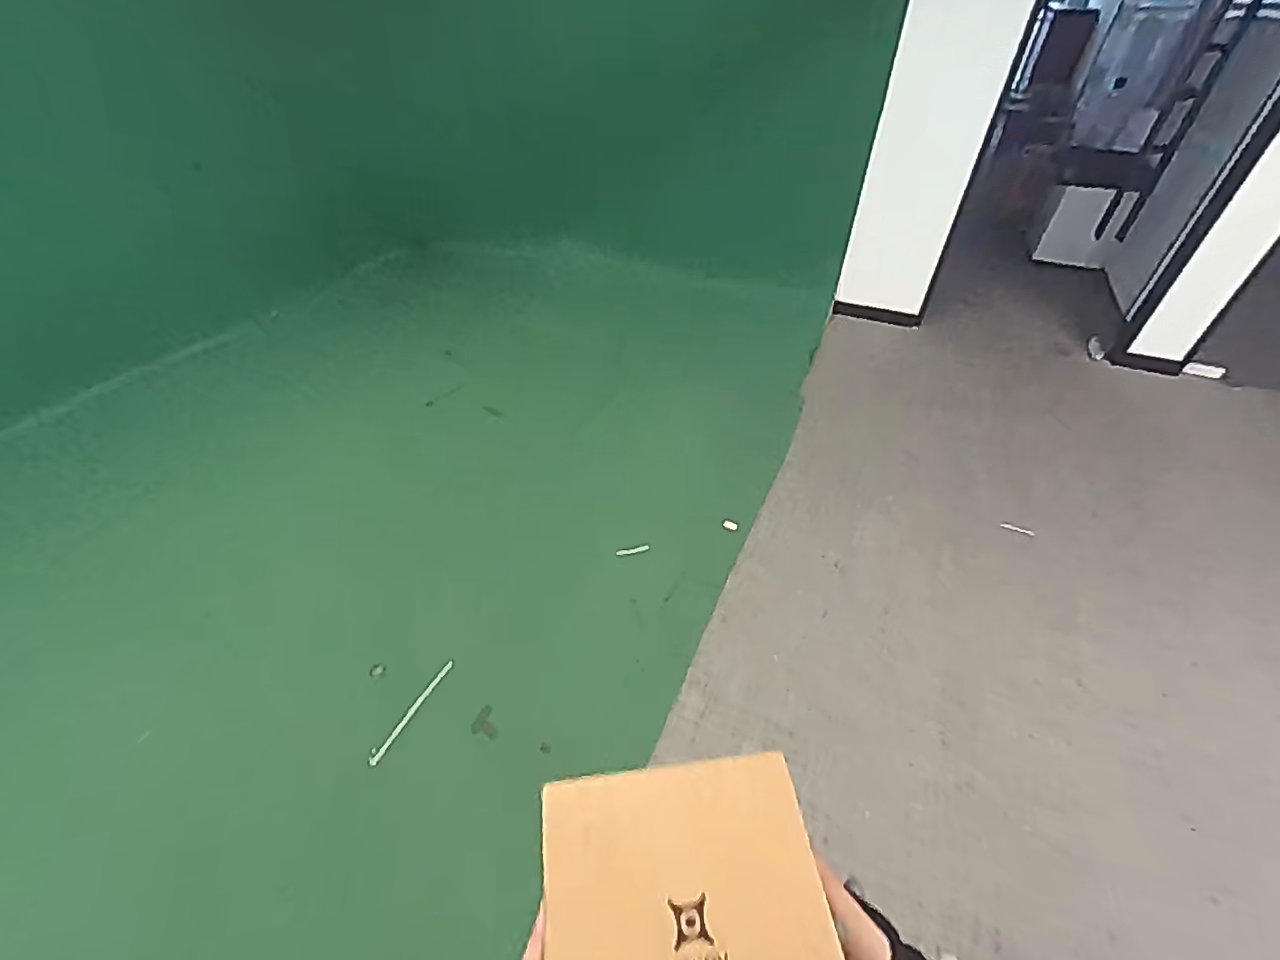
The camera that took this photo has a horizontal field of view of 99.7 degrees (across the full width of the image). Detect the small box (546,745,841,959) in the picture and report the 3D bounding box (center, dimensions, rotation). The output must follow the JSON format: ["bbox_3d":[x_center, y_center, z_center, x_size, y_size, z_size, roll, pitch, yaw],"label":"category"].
[{"bbox_3d":[0.024,0.307,0.366,0.168,0.176,0.179,-4,47,-7],"label":"small box"}]
